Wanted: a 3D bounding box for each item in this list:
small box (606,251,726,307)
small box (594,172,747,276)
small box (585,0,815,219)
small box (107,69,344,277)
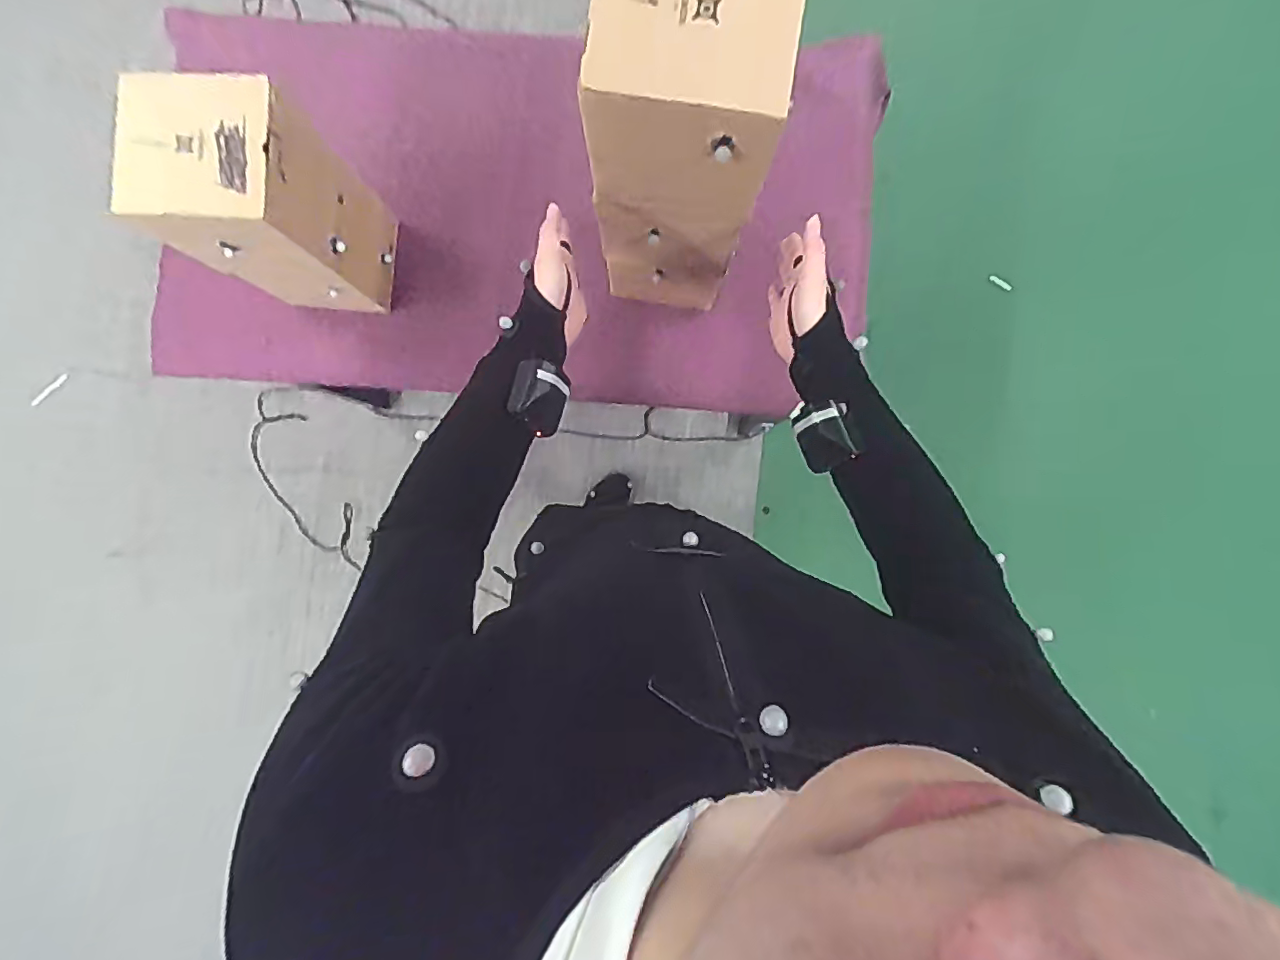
[{"bbox_3d":[0.050,-0.386,0.852,0.179,0.176,0.168,9,89,1],"label":"small box"},{"bbox_3d":[0.048,-0.379,0.689,0.179,0.176,0.168,10,89,1],"label":"small box"},{"bbox_3d":[0.054,-0.379,0.522,0.179,0.176,0.168,9,88,1],"label":"small box"},{"bbox_3d":[-0.500,-0.369,0.680,0.179,0.176,0.168,2,88,0],"label":"small box"}]
